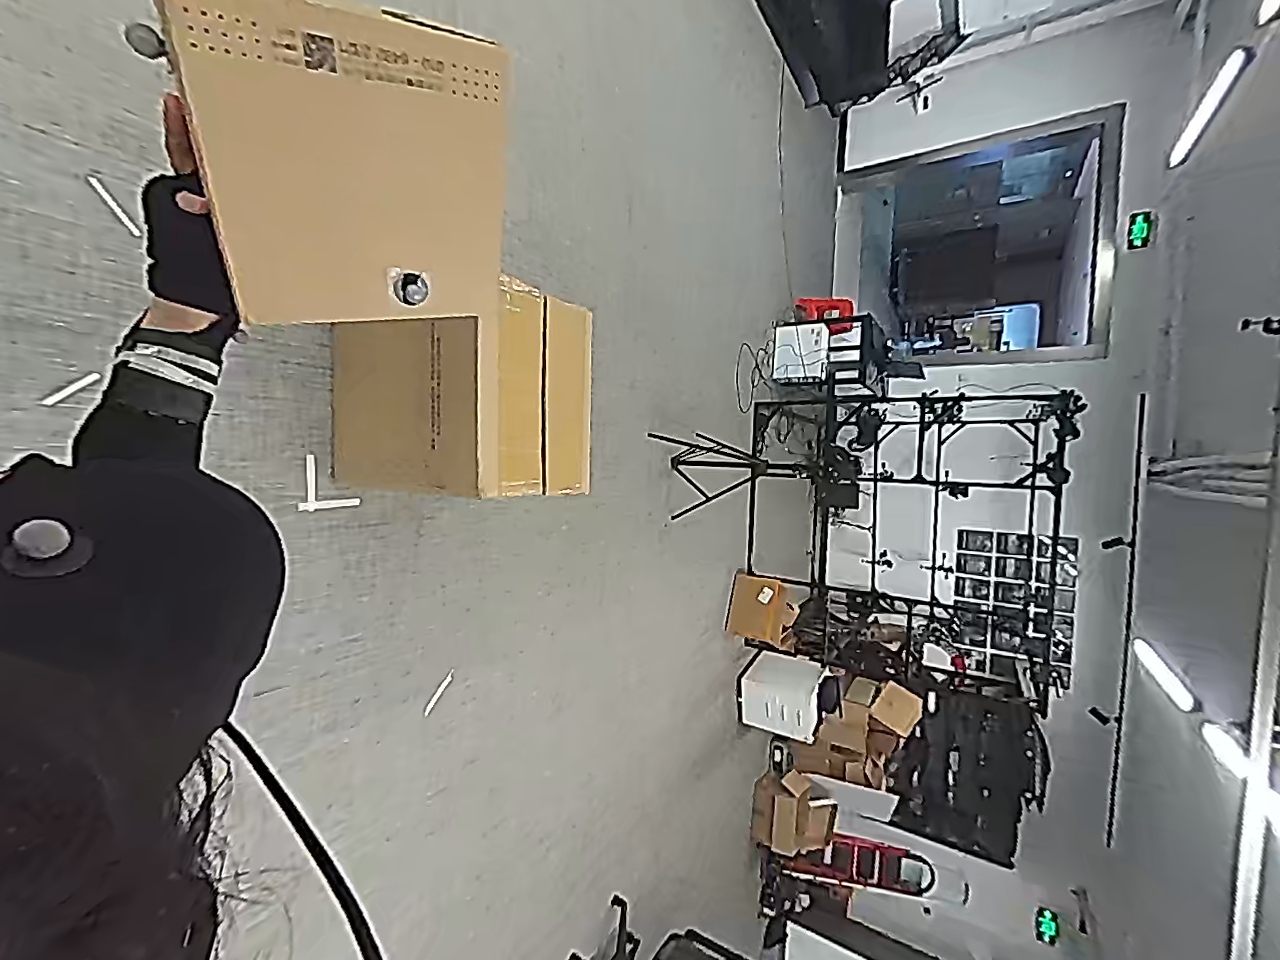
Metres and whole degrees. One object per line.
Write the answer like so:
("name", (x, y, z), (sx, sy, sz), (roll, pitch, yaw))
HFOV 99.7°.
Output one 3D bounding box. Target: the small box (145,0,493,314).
("small box", (-0.207, -0.231, 0.365), (0.168, 0.179, 0.176), (-15, 138, -33))
